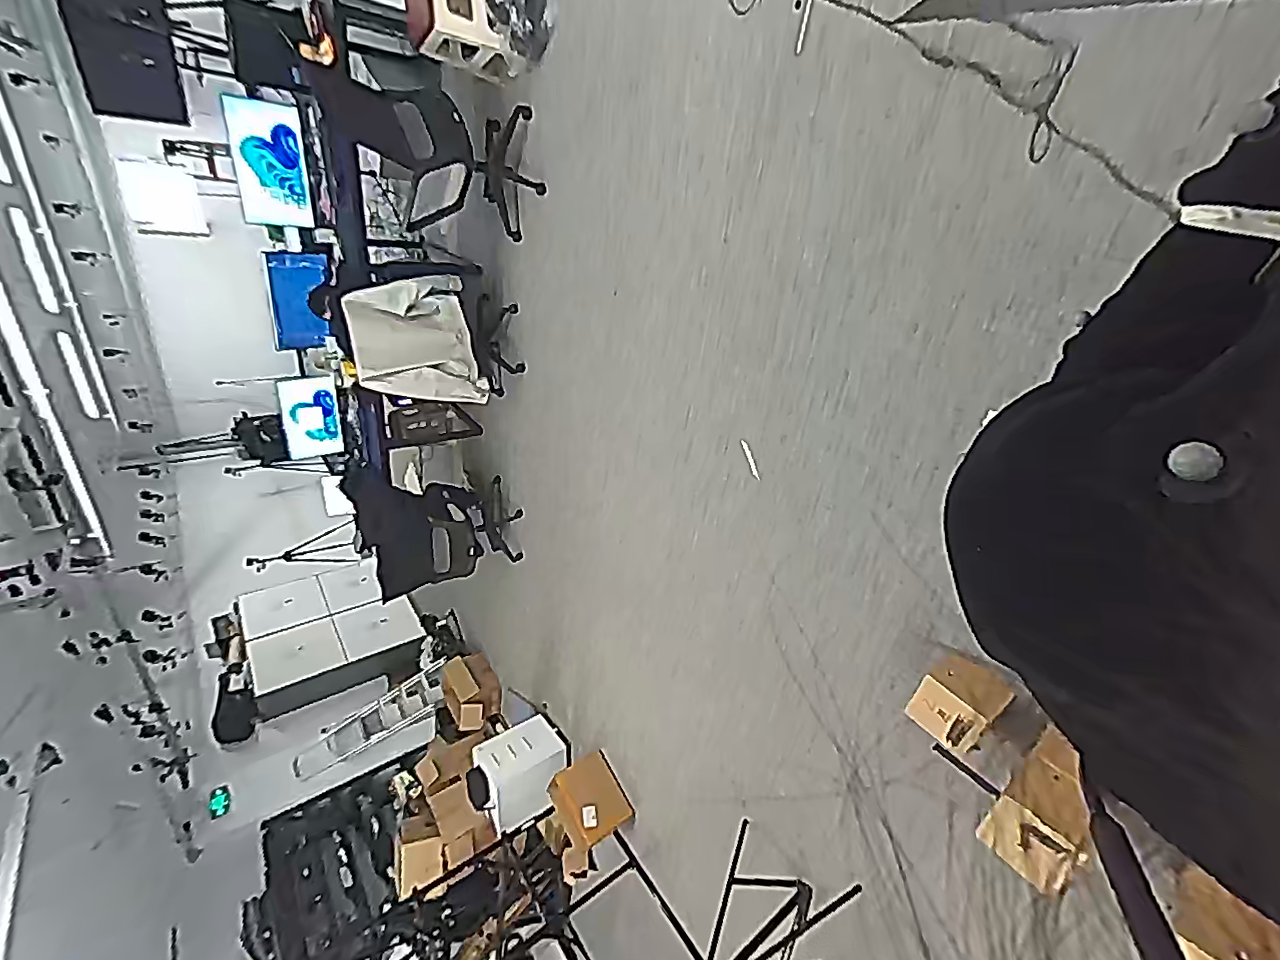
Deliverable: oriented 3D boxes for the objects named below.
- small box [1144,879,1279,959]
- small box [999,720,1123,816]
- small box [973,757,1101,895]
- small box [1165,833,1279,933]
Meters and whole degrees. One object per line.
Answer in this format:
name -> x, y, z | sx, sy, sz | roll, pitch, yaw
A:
small box -> 1.117, 0.932, 1.038 | 0.179, 0.176, 0.168 | 25, 121, 48
small box -> 1.046, 0.741, 1.341 | 0.168, 0.176, 0.179 | 39, 130, 38
small box -> 0.918, 0.786, 1.247 | 0.168, 0.176, 0.179 | 36, 130, 41
small box -> 1.247, 0.898, 1.131 | 0.179, 0.176, 0.168 | 22, 119, 47
